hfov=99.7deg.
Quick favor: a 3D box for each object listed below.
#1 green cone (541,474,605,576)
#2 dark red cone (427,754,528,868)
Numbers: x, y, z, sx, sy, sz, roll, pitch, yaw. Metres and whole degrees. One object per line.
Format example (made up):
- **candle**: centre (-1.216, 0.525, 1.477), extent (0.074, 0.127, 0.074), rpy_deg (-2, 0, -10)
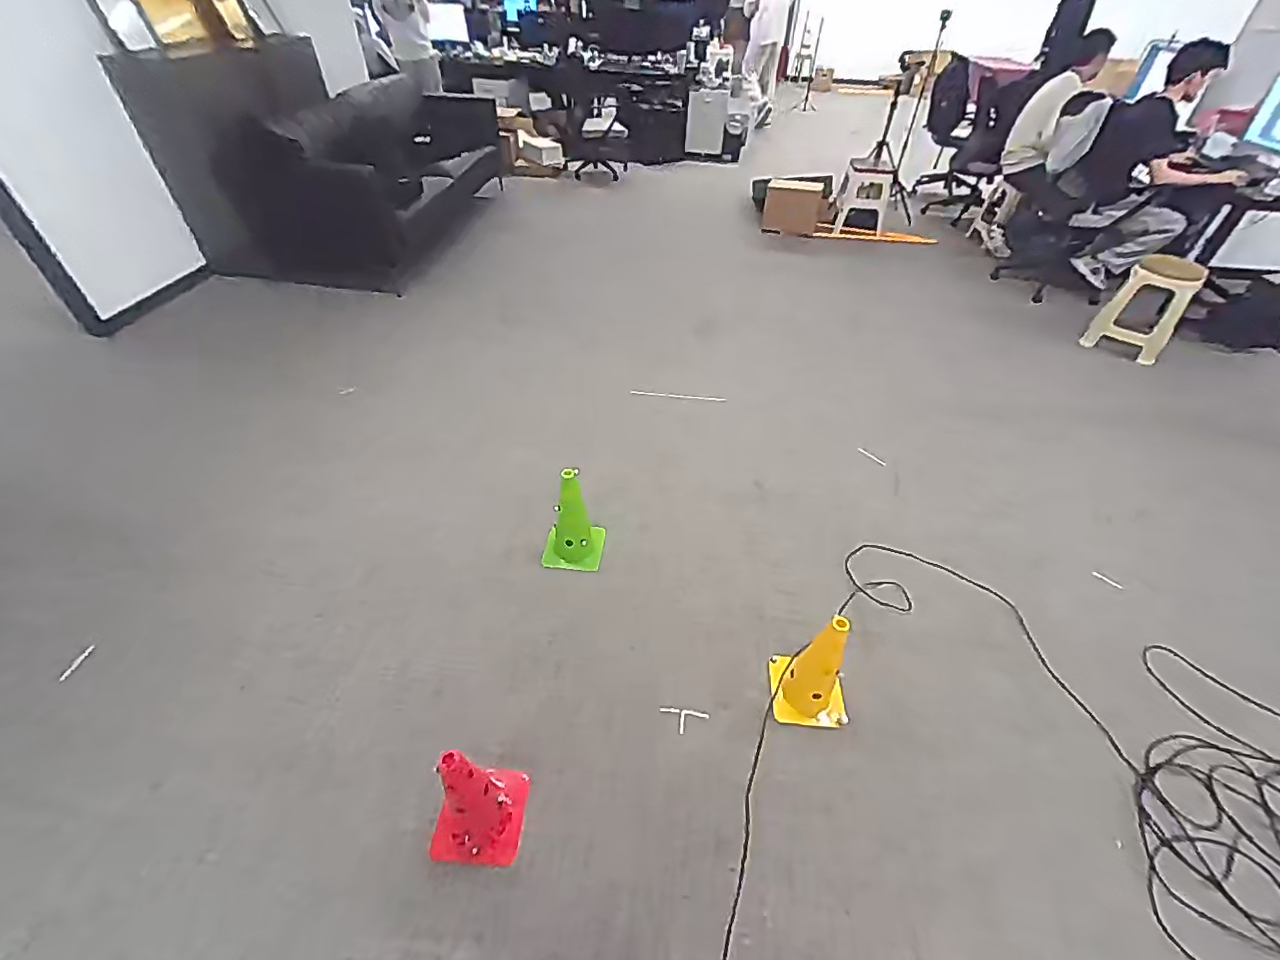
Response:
- **green cone**: centre (-0.227, 0.128, 1.788), extent (0.202, 0.368, 0.200), rpy_deg (6, 44, 3)
- **dark red cone**: centre (-0.372, 0.675, 1.159), extent (0.202, 0.394, 0.201), rpy_deg (2, 44, 1)
